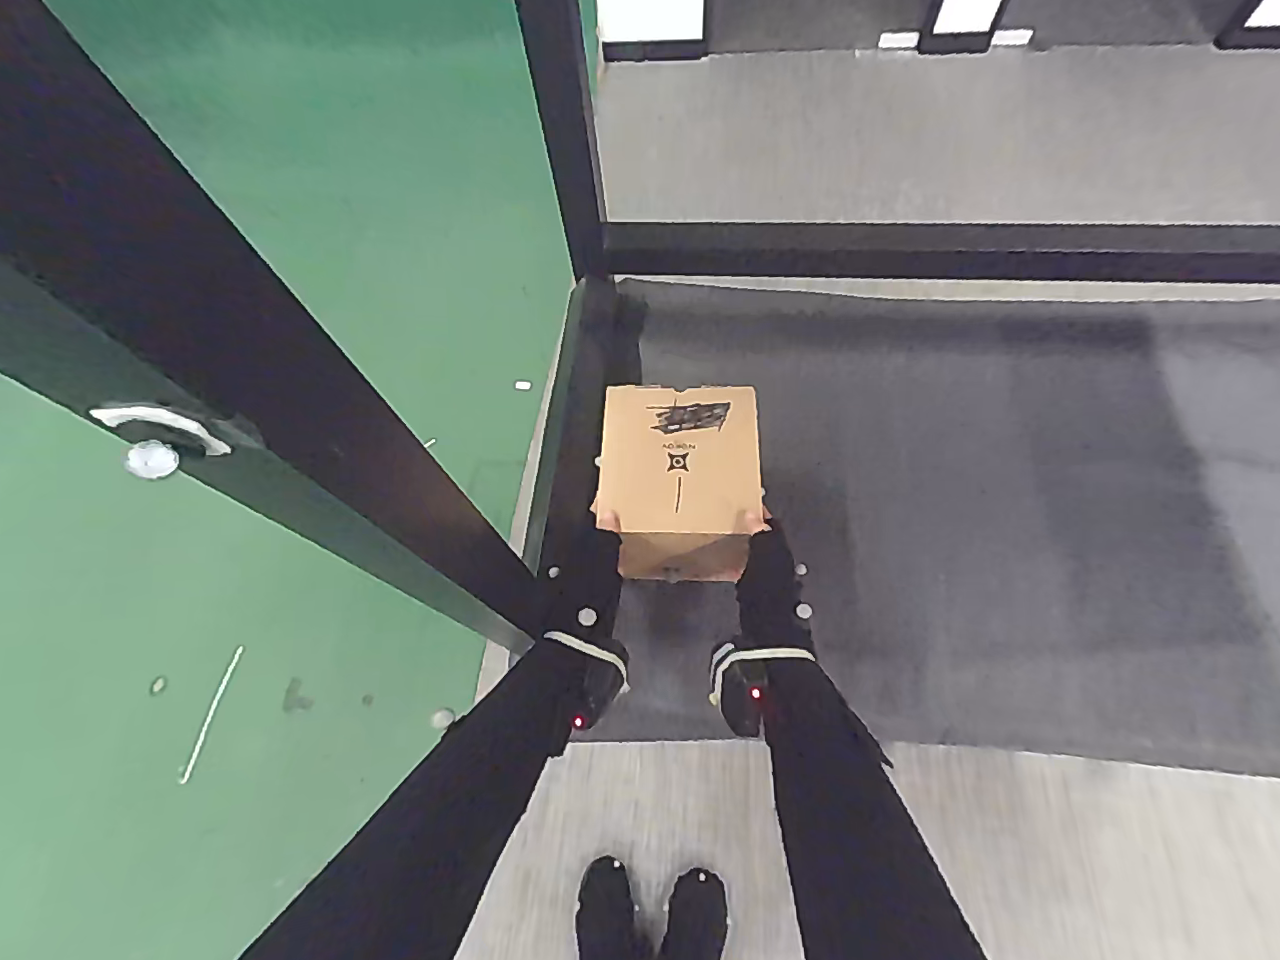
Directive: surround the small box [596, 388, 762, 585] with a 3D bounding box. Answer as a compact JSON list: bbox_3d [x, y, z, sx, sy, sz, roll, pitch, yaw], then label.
[{"bbox_3d":[0.046,0.012,0.633,0.168,0.176,0.179,1,64,4],"label":"small box"}]
